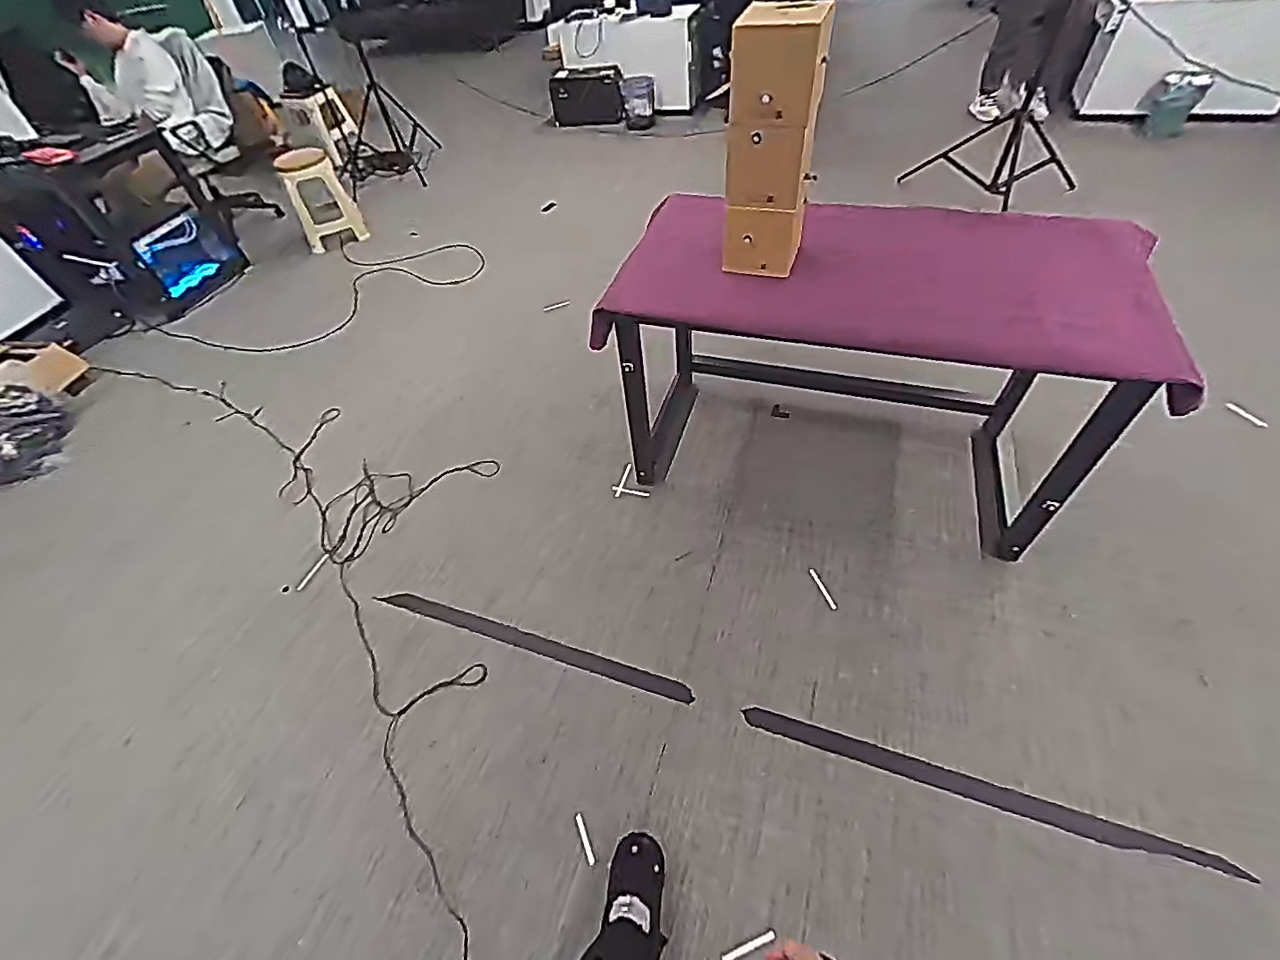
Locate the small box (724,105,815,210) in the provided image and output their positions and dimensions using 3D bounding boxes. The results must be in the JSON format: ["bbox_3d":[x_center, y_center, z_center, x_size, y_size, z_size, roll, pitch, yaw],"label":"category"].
[{"bbox_3d":[0.289,-0.740,1.228,0.168,0.176,0.179,12,52,16],"label":"small box"}]

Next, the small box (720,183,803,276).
[{"bbox_3d":[0.302,-0.631,1.349,0.168,0.176,0.179,12,52,16],"label":"small box"}]

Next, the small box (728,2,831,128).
[{"bbox_3d":[0.279,-0.843,1.099,0.168,0.176,0.179,13,53,16],"label":"small box"}]
